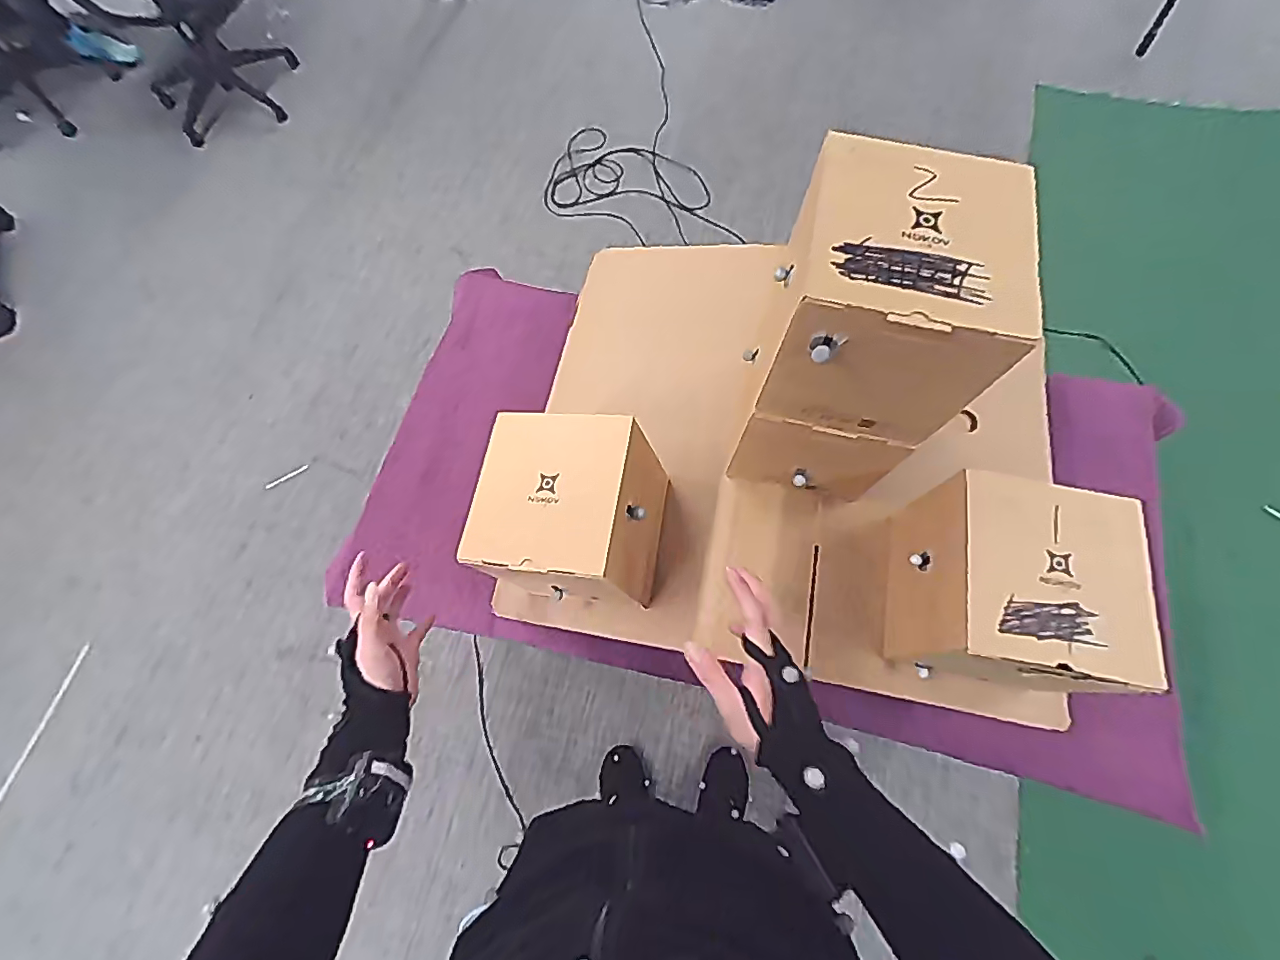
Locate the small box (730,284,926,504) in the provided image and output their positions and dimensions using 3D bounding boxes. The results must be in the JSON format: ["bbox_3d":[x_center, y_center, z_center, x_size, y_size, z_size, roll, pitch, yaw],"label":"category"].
[{"bbox_3d":[0.209,-0.092,0.632,0.168,0.176,0.179,12,69,4],"label":"small box"}]

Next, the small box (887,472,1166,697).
[{"bbox_3d":[0.372,0.115,0.557,0.168,0.176,0.179,11,69,3],"label":"small box"}]
